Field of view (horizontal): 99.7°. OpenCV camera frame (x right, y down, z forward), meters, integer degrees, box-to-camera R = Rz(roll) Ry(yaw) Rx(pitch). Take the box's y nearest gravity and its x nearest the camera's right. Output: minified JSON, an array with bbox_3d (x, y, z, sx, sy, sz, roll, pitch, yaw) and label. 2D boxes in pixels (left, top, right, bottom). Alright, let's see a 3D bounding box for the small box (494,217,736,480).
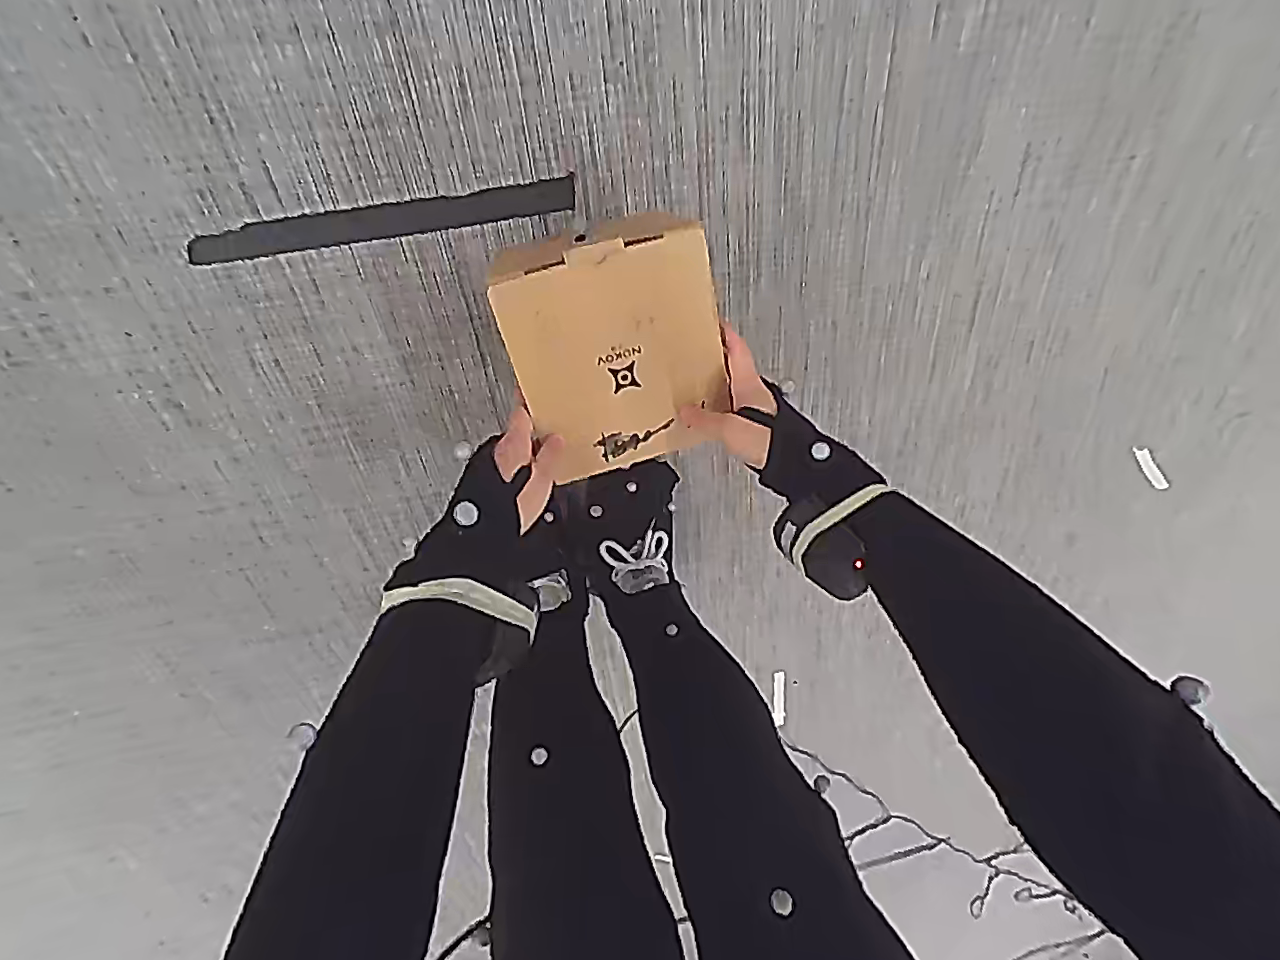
[{"bbox_3d":[-0.027,-0.131,0.498,0.168,0.176,0.179,-17,120,-3],"label":"small box"}]
